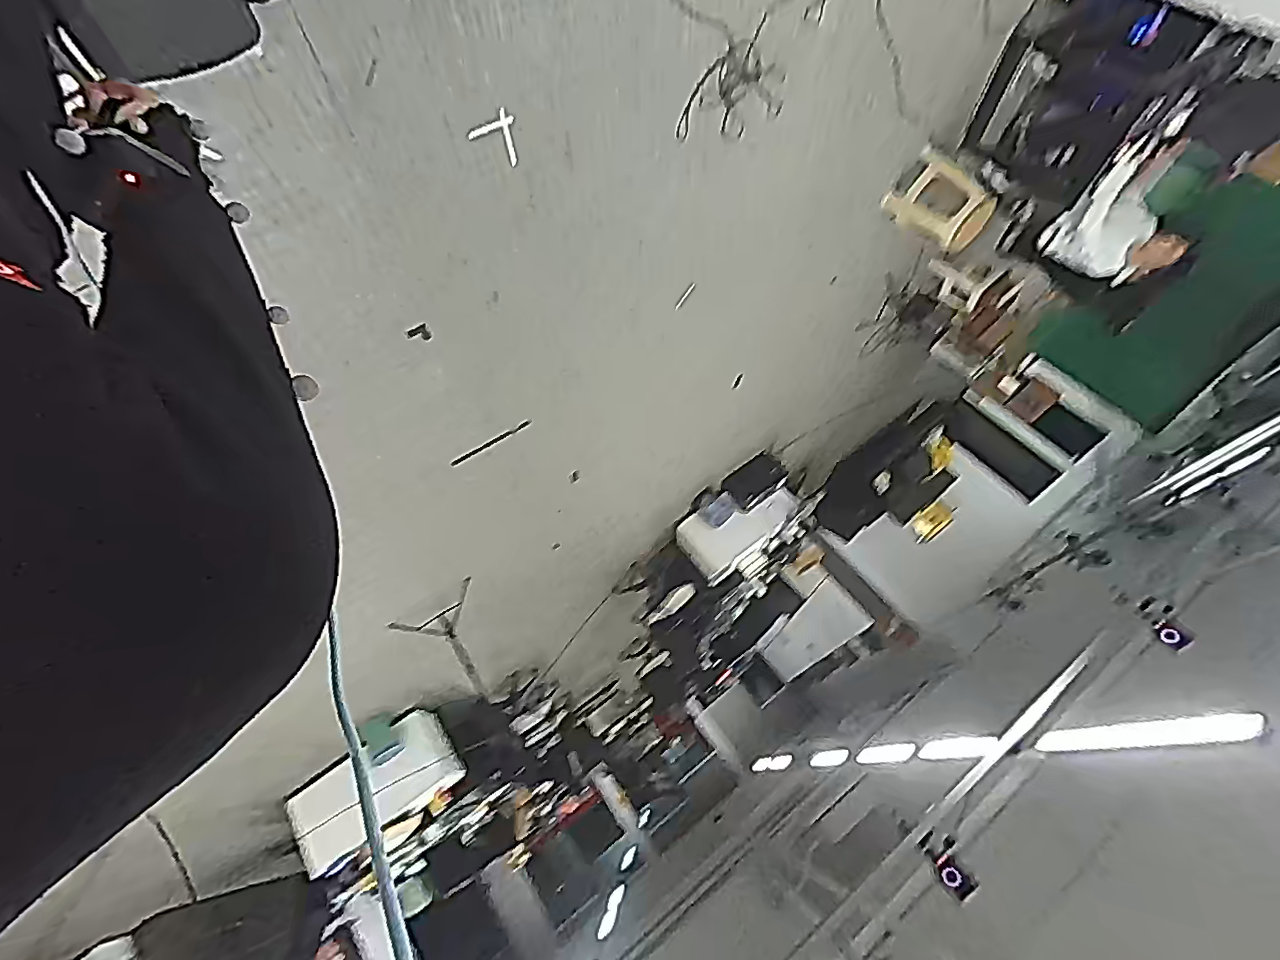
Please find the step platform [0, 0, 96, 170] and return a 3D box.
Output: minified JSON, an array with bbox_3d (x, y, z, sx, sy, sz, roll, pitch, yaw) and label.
[{"bbox_3d":[-1.056,-0.745,0.635,0.286,0.204,0.684,-33,153,-20],"label":"step platform"}]
